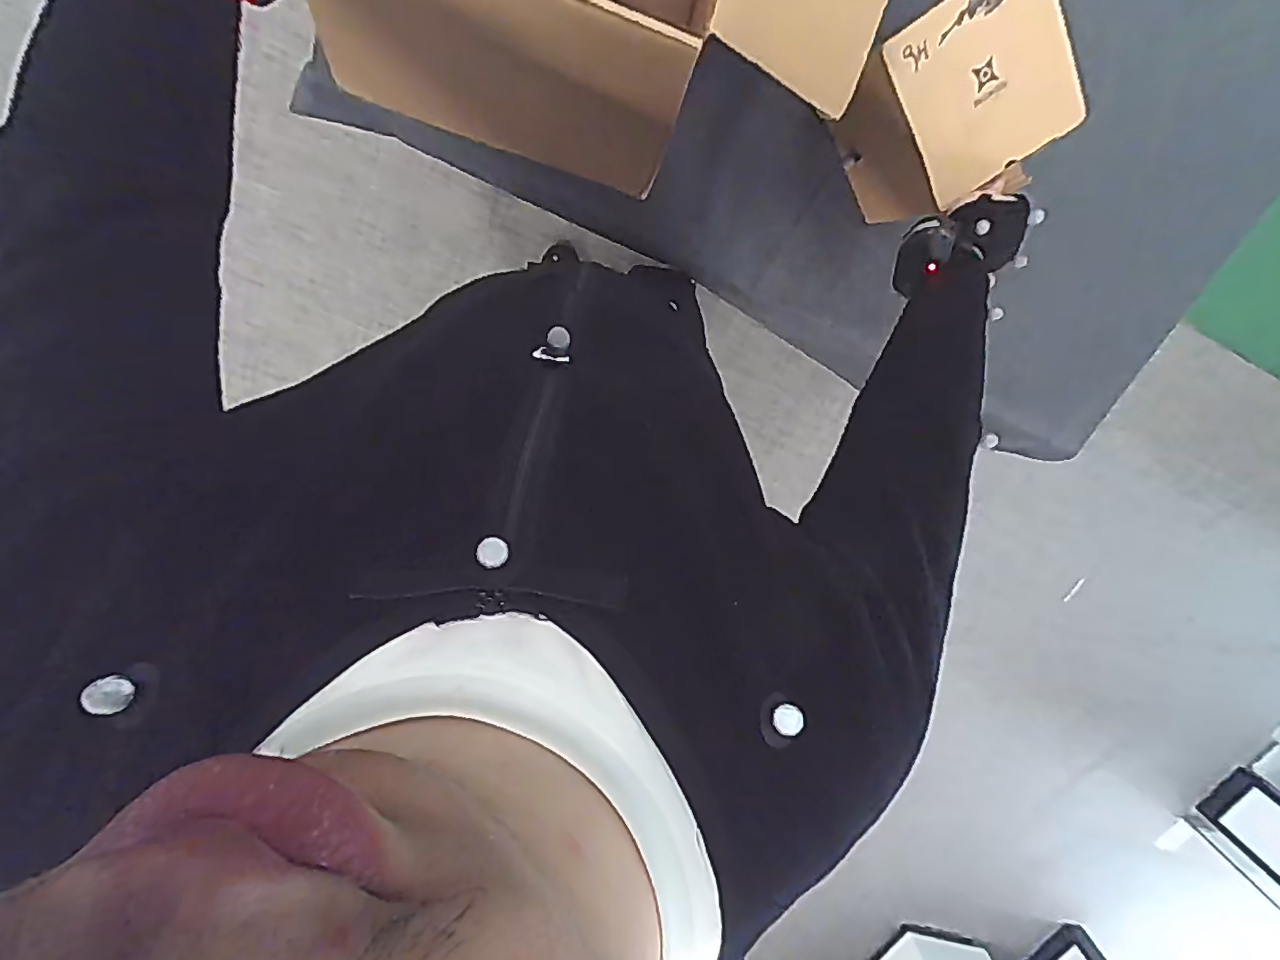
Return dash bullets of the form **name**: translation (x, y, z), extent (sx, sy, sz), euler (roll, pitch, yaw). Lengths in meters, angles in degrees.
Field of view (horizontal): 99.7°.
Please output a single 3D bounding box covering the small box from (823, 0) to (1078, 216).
- **small box**: translation (0.338, -0.428, 0.615), extent (0.168, 0.176, 0.179), euler (-30, 113, 9)
